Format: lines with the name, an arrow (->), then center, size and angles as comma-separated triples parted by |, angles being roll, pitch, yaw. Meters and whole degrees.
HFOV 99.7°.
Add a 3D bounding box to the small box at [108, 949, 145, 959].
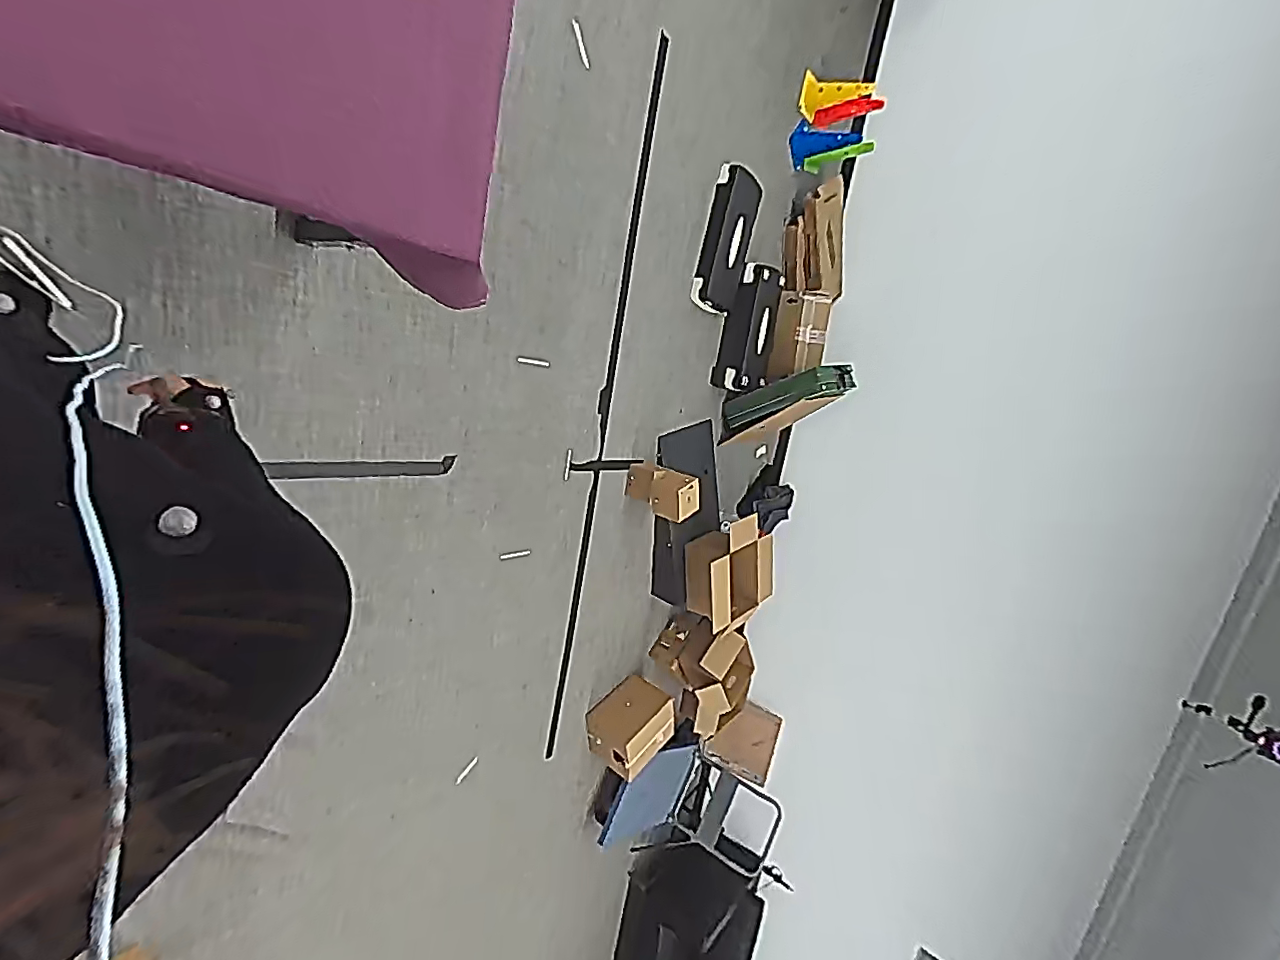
small box -> -1.443, 1.430, 1.459 | 0.168, 0.176, 0.179 | -3, 108, -53
